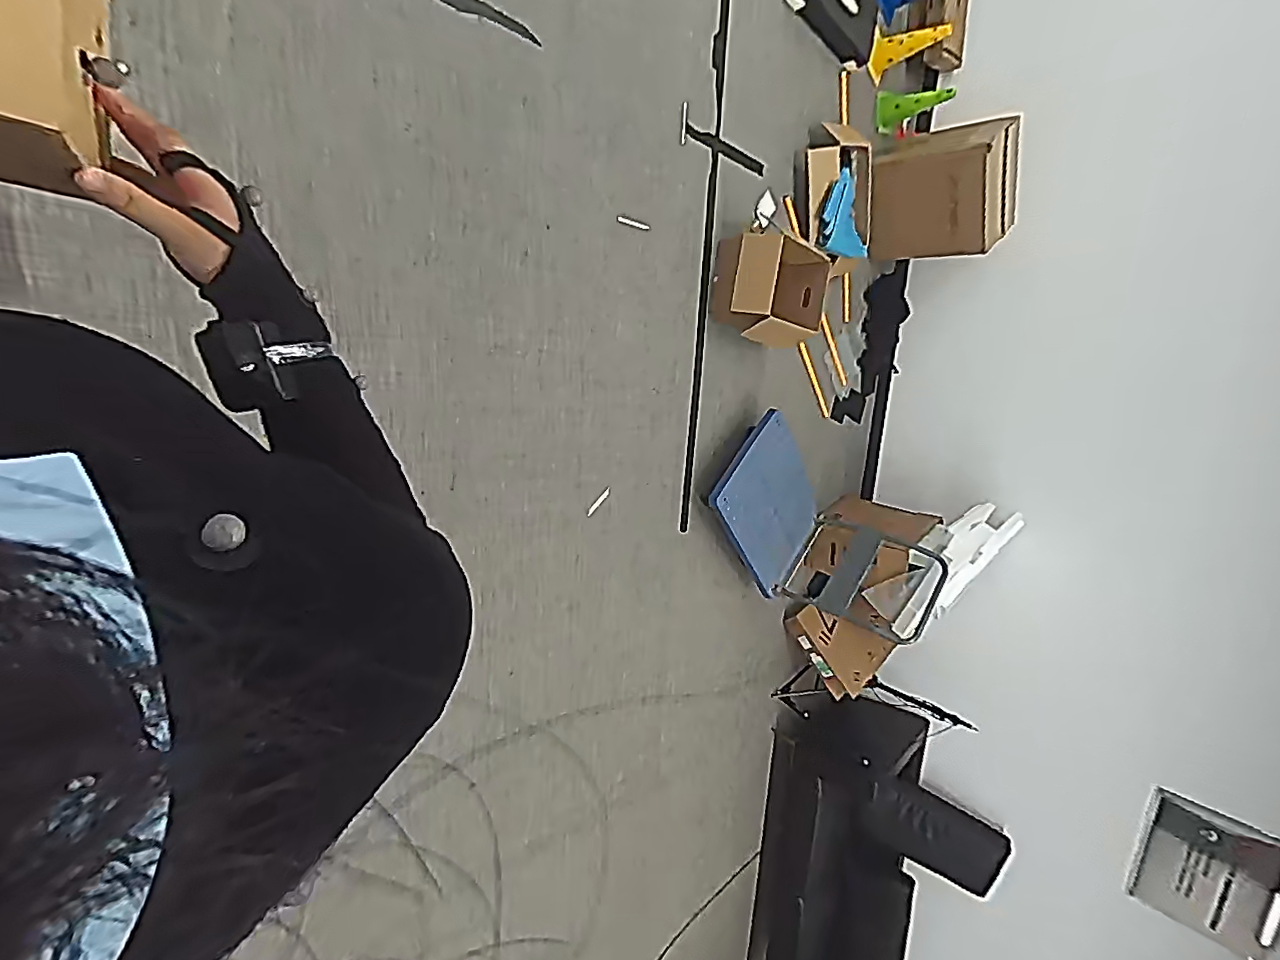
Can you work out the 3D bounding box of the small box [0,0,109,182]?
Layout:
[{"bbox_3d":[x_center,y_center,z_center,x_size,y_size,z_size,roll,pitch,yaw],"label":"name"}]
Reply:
[{"bbox_3d":[-0.398,-0.275,0.273,0.179,0.176,0.168,0,100,-38],"label":"small box"}]
